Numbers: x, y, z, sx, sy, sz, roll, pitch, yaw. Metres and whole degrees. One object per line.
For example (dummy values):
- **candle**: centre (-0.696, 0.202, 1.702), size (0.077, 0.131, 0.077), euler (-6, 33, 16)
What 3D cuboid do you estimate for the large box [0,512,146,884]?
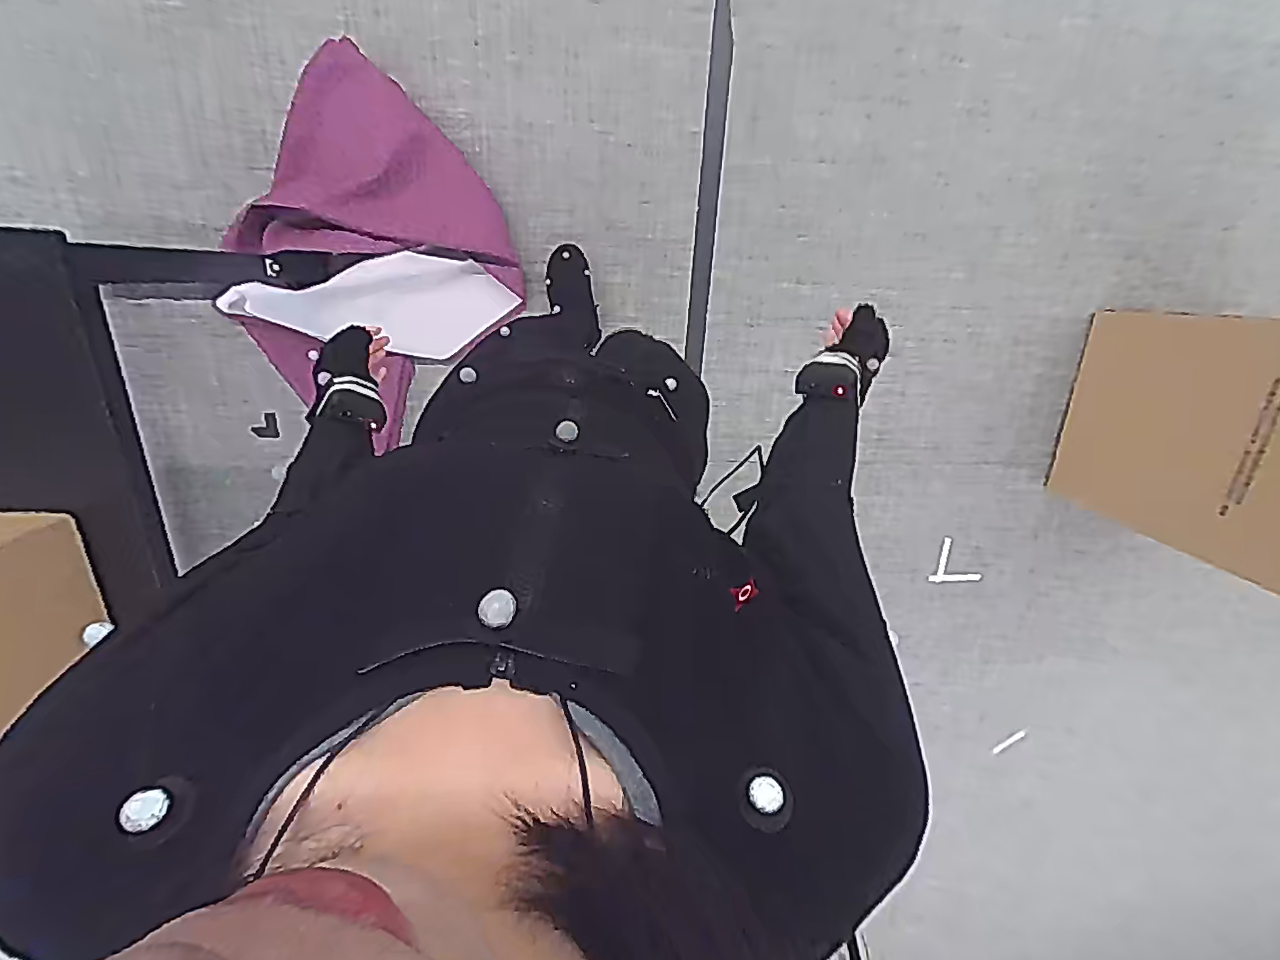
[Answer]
- **large box**: centre (-0.918, 0.278, 0.645), size (0.320, 0.320, 0.408), euler (-1, 109, -5)
